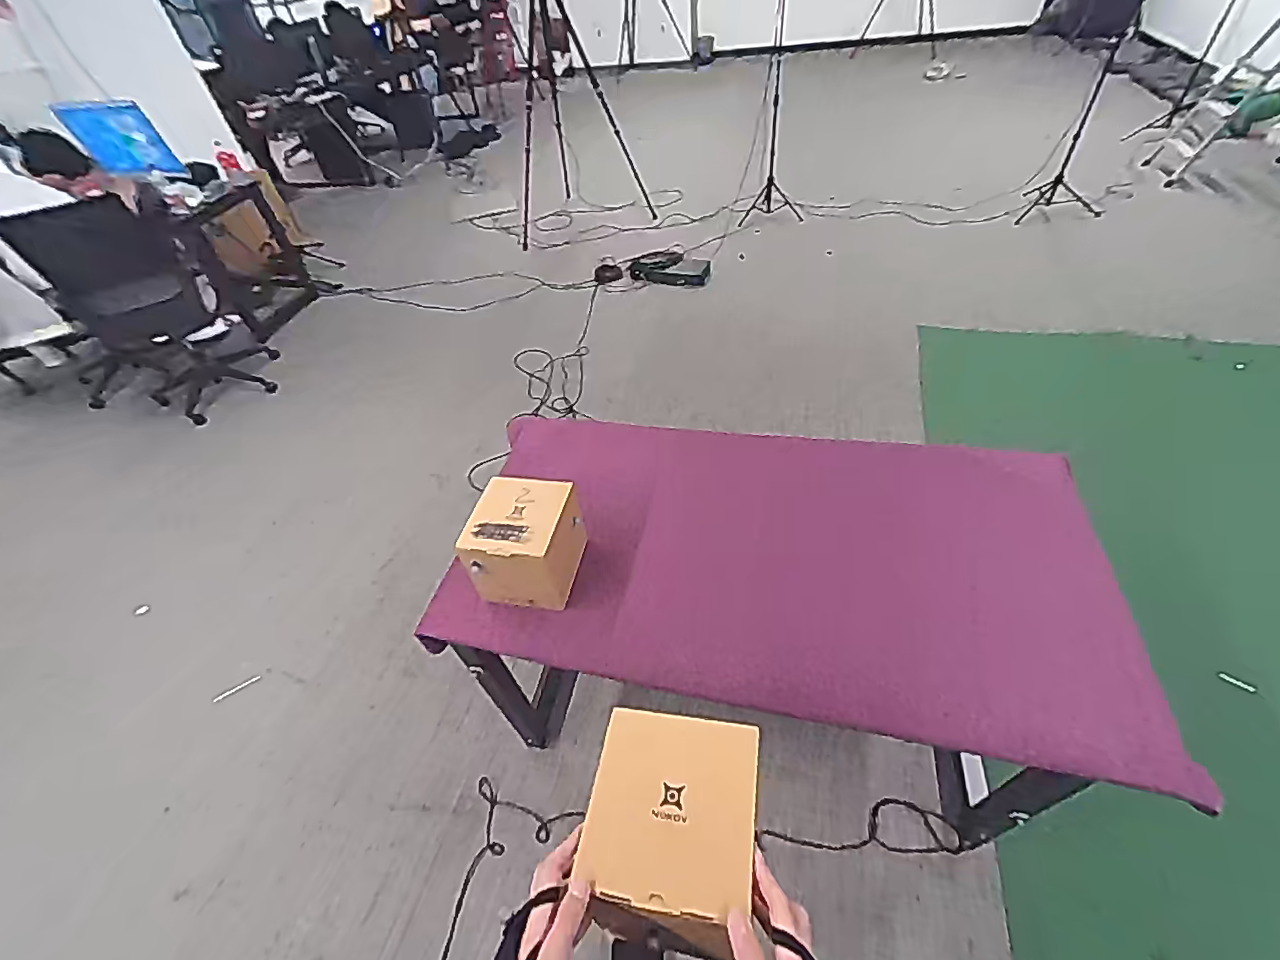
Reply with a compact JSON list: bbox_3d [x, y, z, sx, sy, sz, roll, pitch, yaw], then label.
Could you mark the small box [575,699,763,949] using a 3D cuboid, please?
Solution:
[{"bbox_3d":[0.044,0.372,0.592,0.168,0.176,0.179,3,43,14],"label":"small box"}]
